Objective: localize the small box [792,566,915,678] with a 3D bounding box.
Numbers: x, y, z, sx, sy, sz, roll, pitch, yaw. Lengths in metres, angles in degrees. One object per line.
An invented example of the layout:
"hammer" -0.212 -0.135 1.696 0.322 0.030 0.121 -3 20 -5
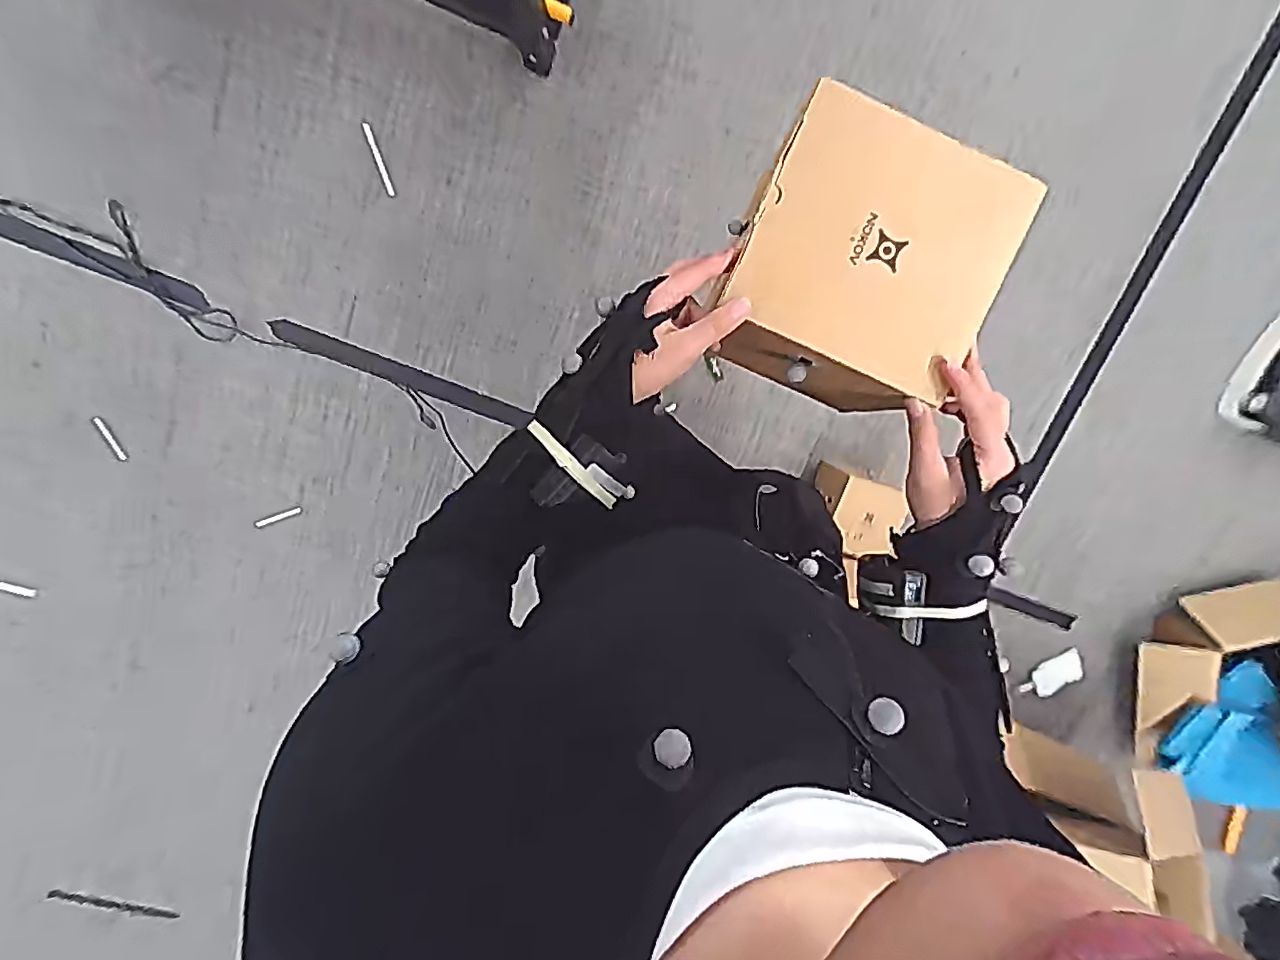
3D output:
"small box" 0.463 0.308 1.209 0.179 0.176 0.168 14 105 -8

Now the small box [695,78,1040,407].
"small box" 0.161 -0.169 0.449 0.179 0.176 0.168 23 95 -2
